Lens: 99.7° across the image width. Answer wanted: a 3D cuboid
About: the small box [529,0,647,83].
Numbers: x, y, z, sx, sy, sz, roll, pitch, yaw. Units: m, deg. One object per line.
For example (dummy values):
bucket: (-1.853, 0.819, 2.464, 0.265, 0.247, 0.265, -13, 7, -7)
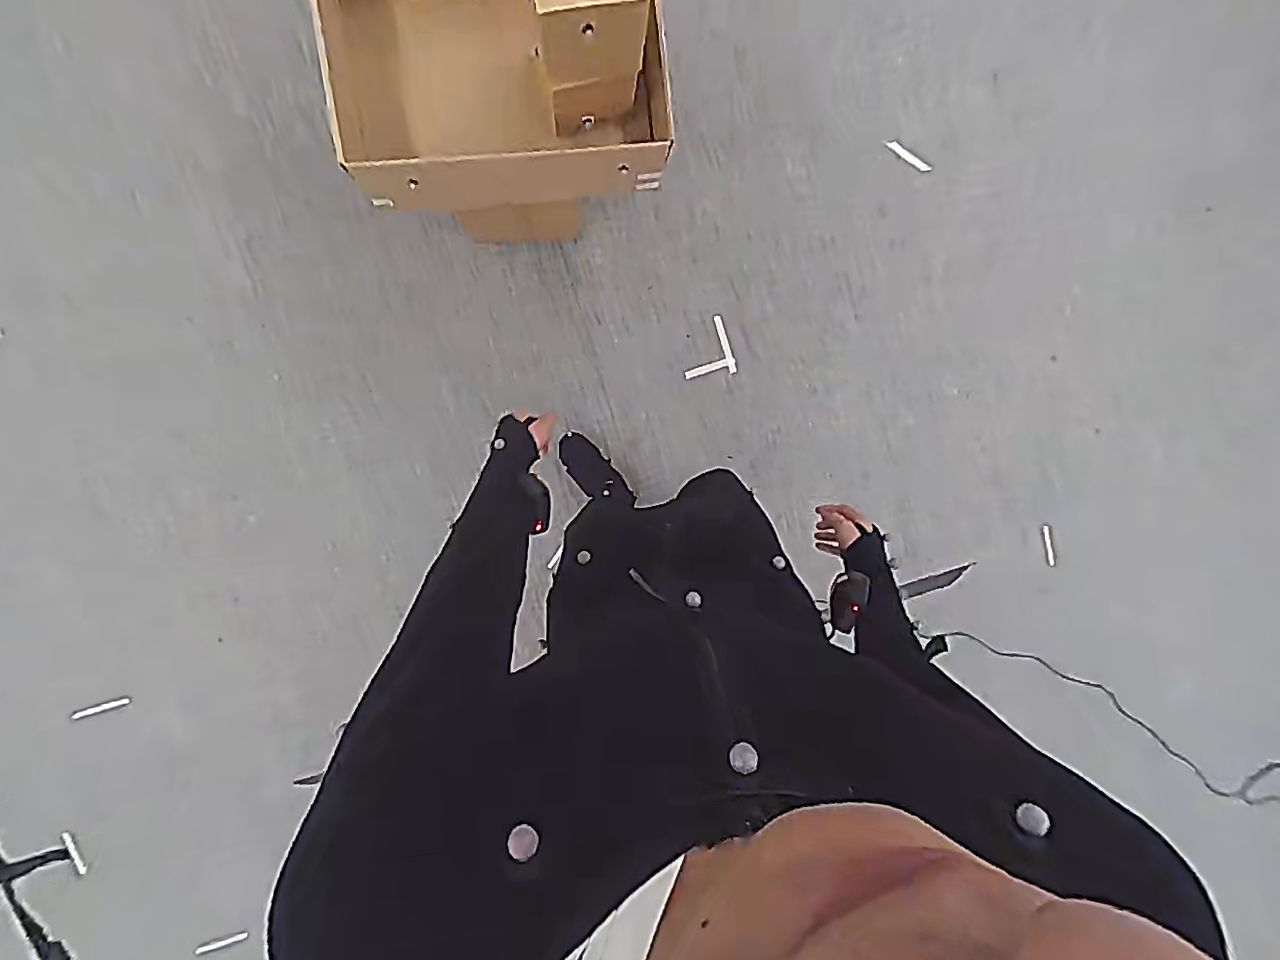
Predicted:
small box: (-0.091, -0.783, 0.874, 0.179, 0.176, 0.168, -11, 96, -4)
